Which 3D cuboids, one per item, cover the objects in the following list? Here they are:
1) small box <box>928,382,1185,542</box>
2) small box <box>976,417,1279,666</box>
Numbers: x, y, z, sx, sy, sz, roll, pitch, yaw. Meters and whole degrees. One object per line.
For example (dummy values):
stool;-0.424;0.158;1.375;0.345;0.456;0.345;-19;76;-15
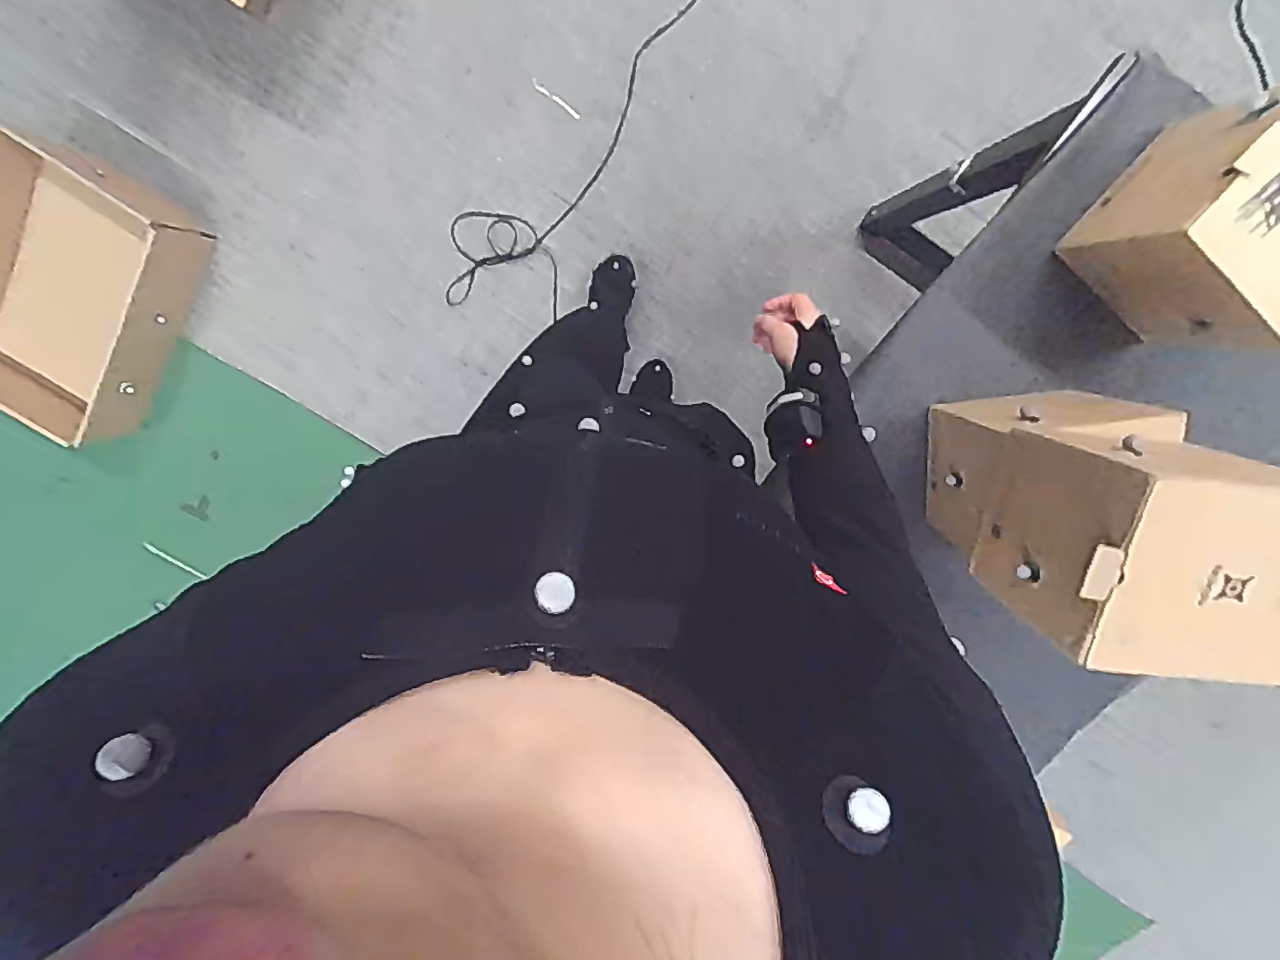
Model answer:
small box;0.465;-0.016;0.638;0.179;0.176;0.168;-7;107;3
small box;0.446;0.041;0.486;0.179;0.176;0.168;4;108;-1
